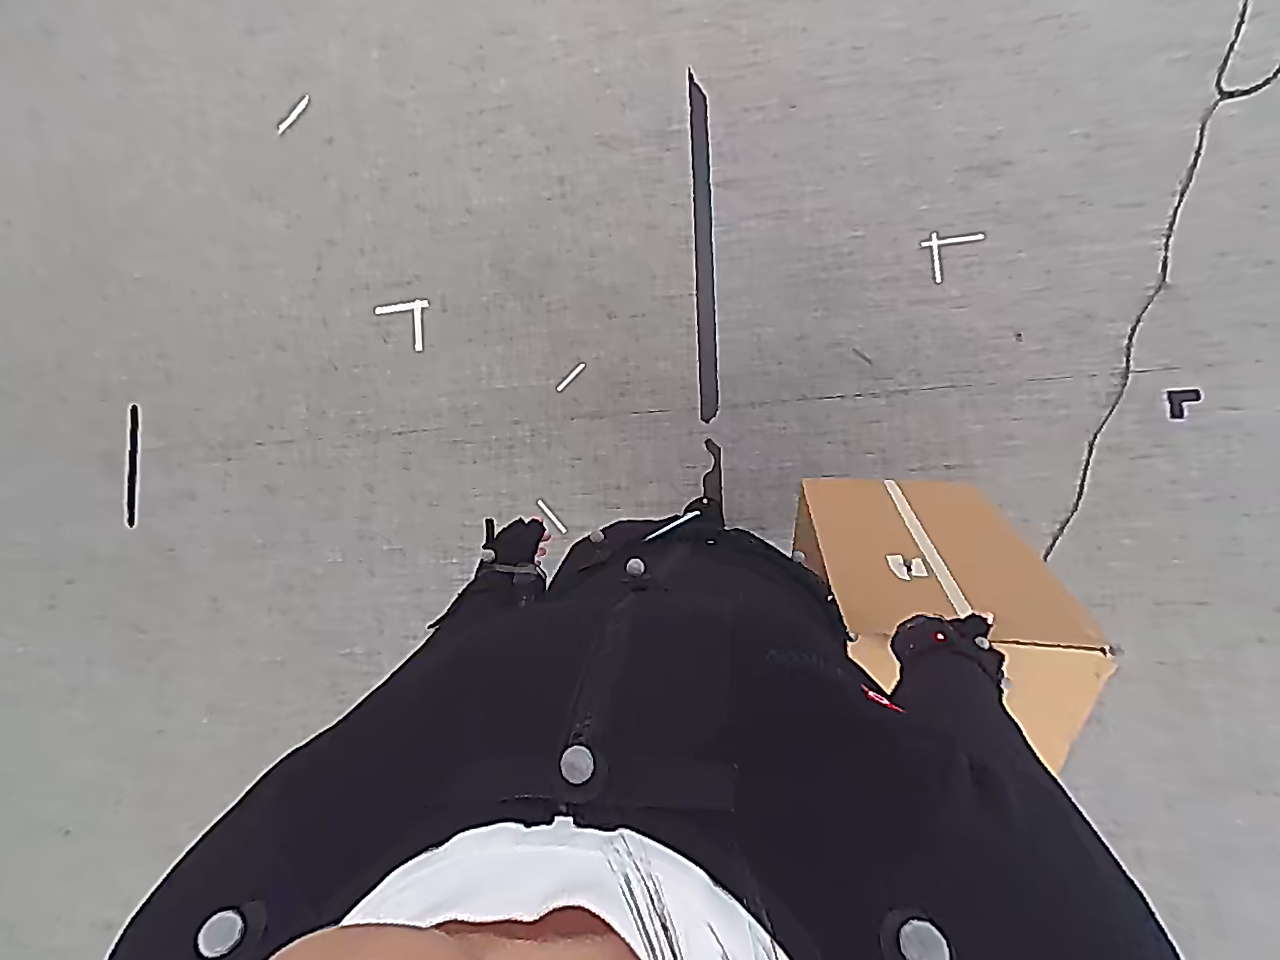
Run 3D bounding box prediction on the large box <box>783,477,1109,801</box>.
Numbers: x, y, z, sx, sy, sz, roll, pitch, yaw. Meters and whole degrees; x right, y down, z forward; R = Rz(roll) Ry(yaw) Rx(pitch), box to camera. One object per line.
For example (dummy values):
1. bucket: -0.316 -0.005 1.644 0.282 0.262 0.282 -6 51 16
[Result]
1. large box: 0.426 0.230 0.891 0.320 0.408 0.320 2 120 8
